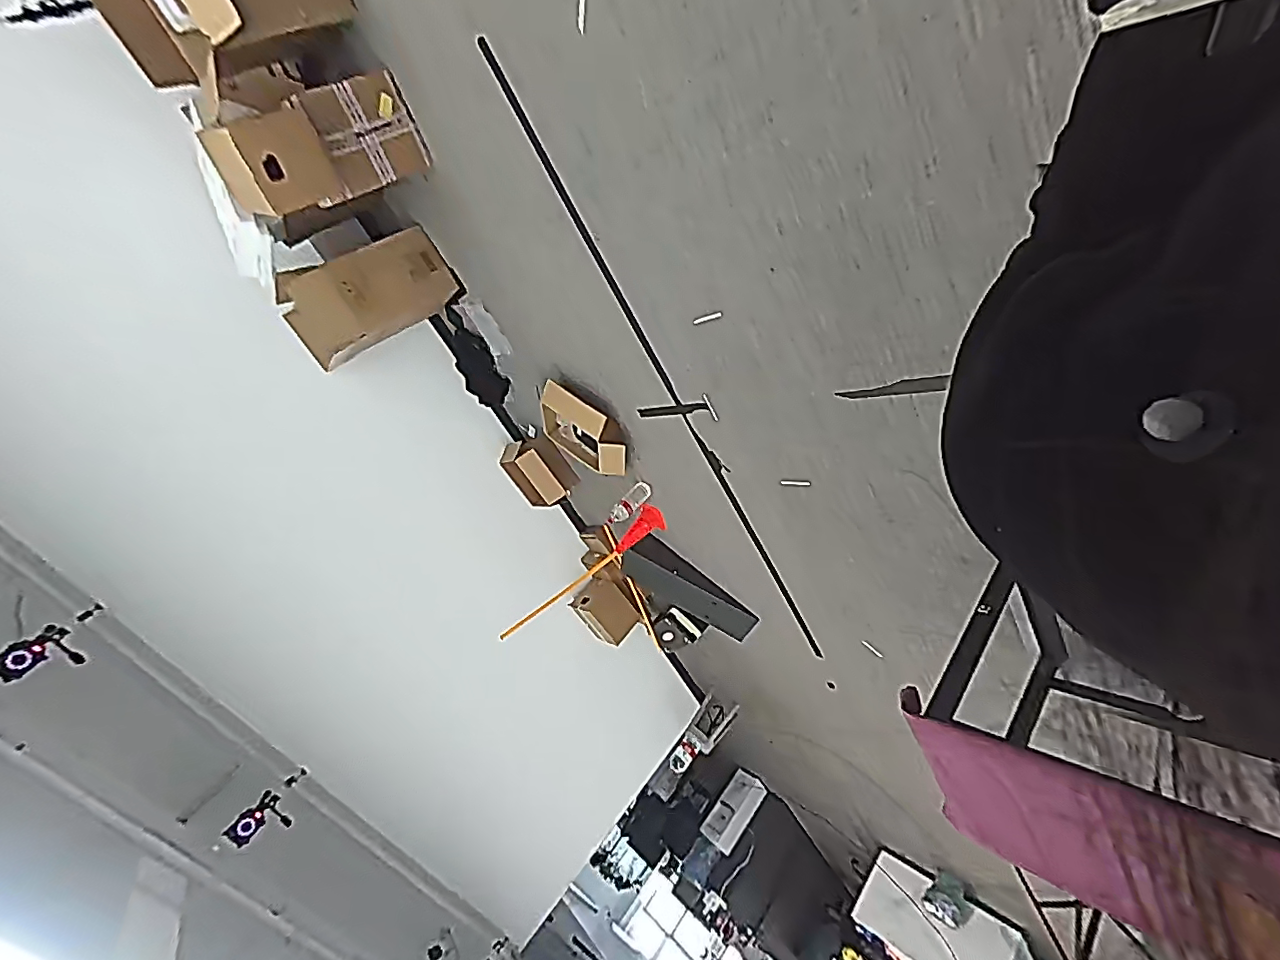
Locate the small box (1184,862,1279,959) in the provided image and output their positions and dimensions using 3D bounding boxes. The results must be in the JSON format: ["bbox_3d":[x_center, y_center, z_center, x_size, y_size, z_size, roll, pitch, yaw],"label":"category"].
[{"bbox_3d":[1.149,0.874,1.011,0.168,0.176,0.179,4,132,51],"label":"small box"}]
